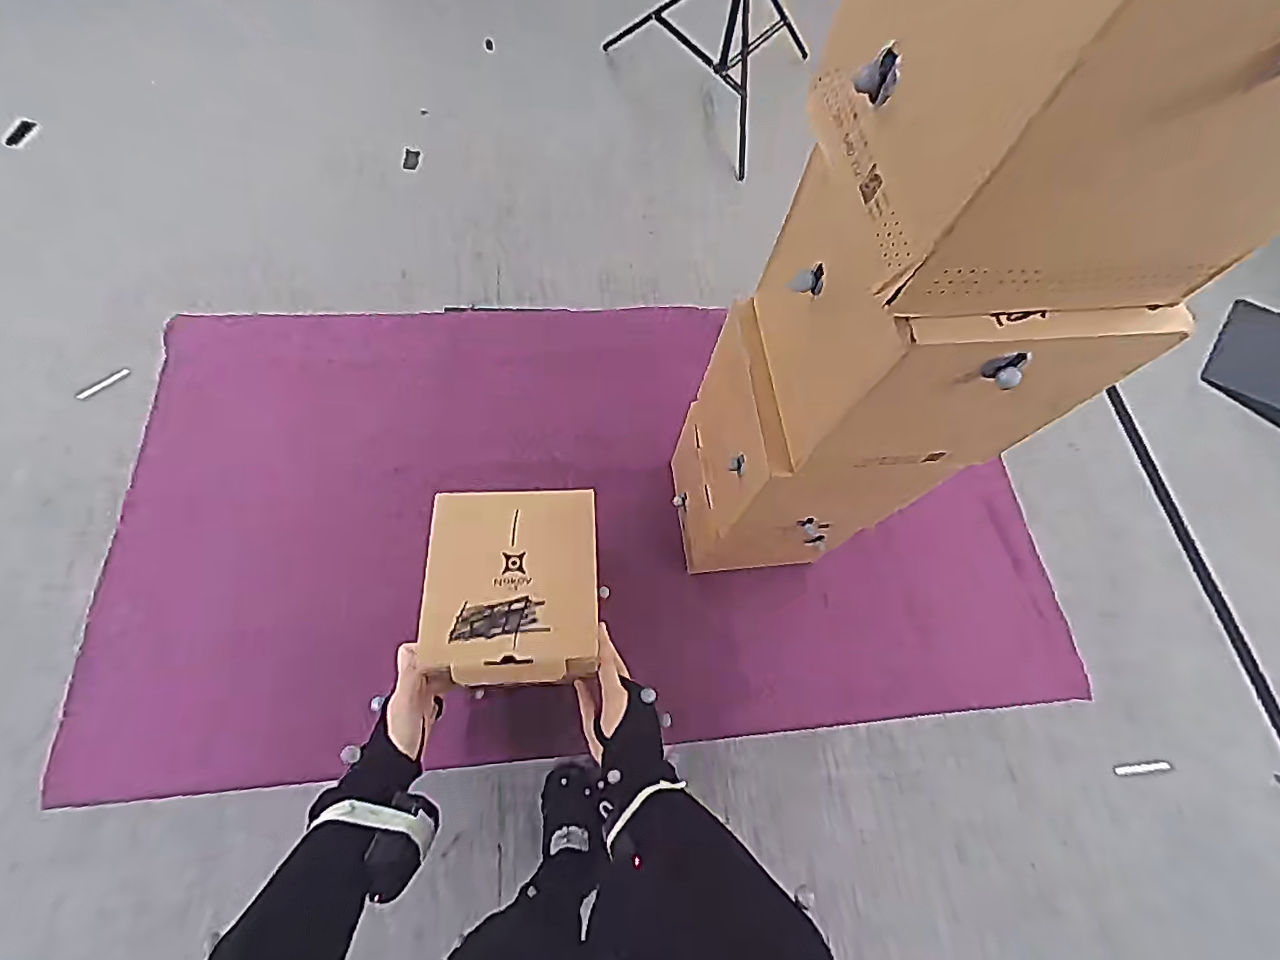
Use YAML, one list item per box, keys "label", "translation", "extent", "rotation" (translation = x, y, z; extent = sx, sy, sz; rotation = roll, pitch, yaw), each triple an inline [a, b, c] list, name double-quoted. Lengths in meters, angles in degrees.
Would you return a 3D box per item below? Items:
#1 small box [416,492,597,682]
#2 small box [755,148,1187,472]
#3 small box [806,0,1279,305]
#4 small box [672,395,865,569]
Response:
- label: "small box"
  translation: [-0.132, 0.126, 0.601]
  extent: [0.168, 0.176, 0.179]
  rotation: [-1, 64, -6]
- label: "small box"
  translation: [0.193, -0.122, 0.381]
  extent: [0.168, 0.176, 0.179]
  rotation: [-4, 67, -7]
- label: "small box"
  translation: [0.200, -0.195, 0.236]
  extent: [0.179, 0.176, 0.168]
  rotation: [-5, 68, -7]
- label: "small box"
  translation: [0.145, 0.007, 0.679]
  extent: [0.179, 0.176, 0.168]
  rotation: [-5, 67, -7]
